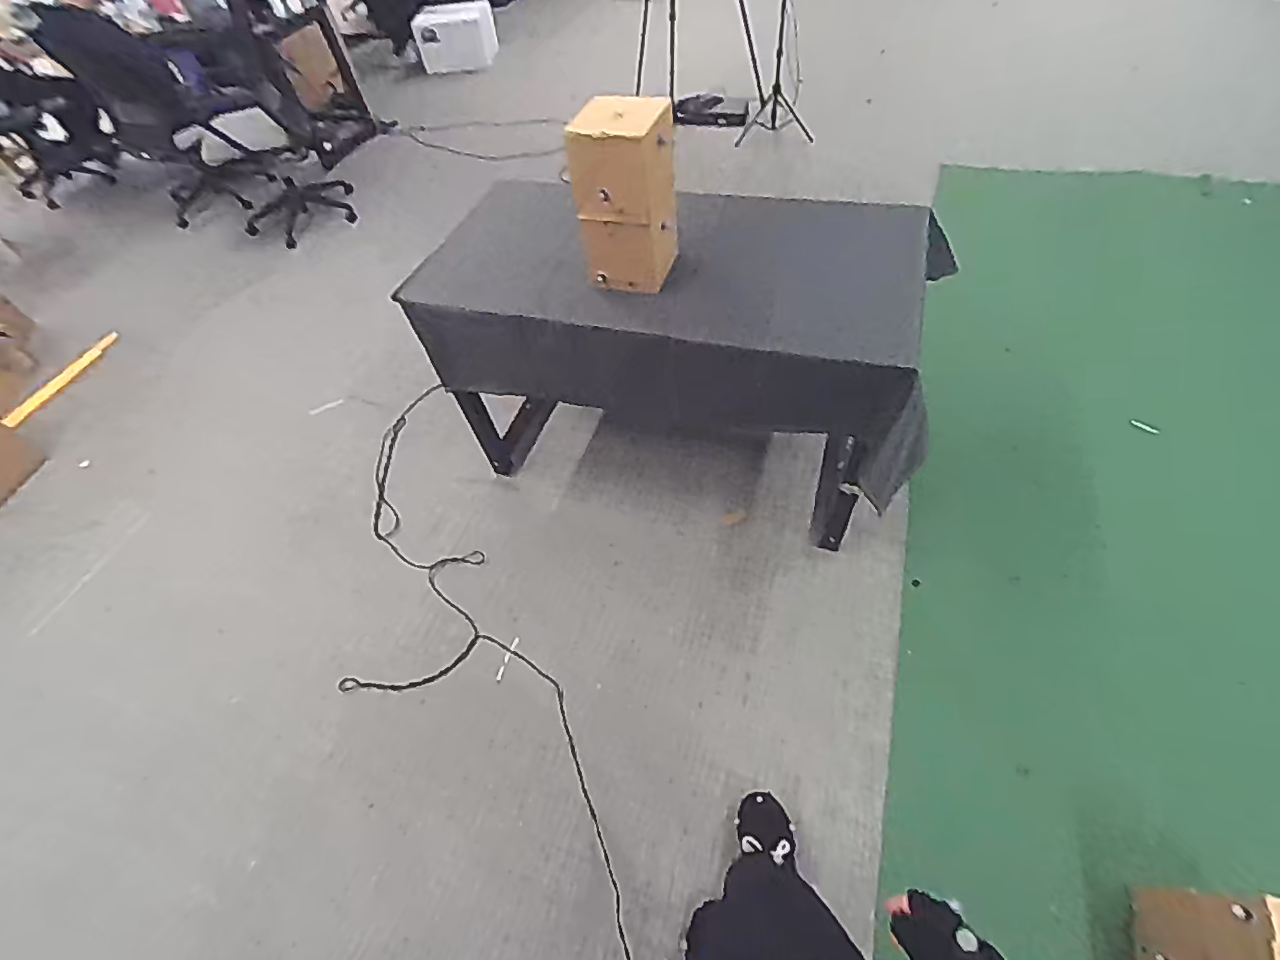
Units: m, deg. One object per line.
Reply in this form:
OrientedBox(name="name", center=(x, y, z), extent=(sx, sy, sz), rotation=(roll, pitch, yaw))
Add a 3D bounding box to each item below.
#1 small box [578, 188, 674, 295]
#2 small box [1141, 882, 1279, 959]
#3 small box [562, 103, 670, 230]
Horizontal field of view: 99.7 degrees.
OrientedBox(name="small box", center=(-0.023, -0.548, 1.241), extent=(0.168, 0.176, 0.179), rotation=(11, 55, 16))
OrientedBox(name="small box", center=(1.037, 0.852, 0.959), extent=(0.179, 0.176, 0.168), rotation=(16, 57, 19))
OrientedBox(name="small box", center=(-0.039, -0.644, 1.111), extent=(0.168, 0.176, 0.179), rotation=(12, 56, 16))
